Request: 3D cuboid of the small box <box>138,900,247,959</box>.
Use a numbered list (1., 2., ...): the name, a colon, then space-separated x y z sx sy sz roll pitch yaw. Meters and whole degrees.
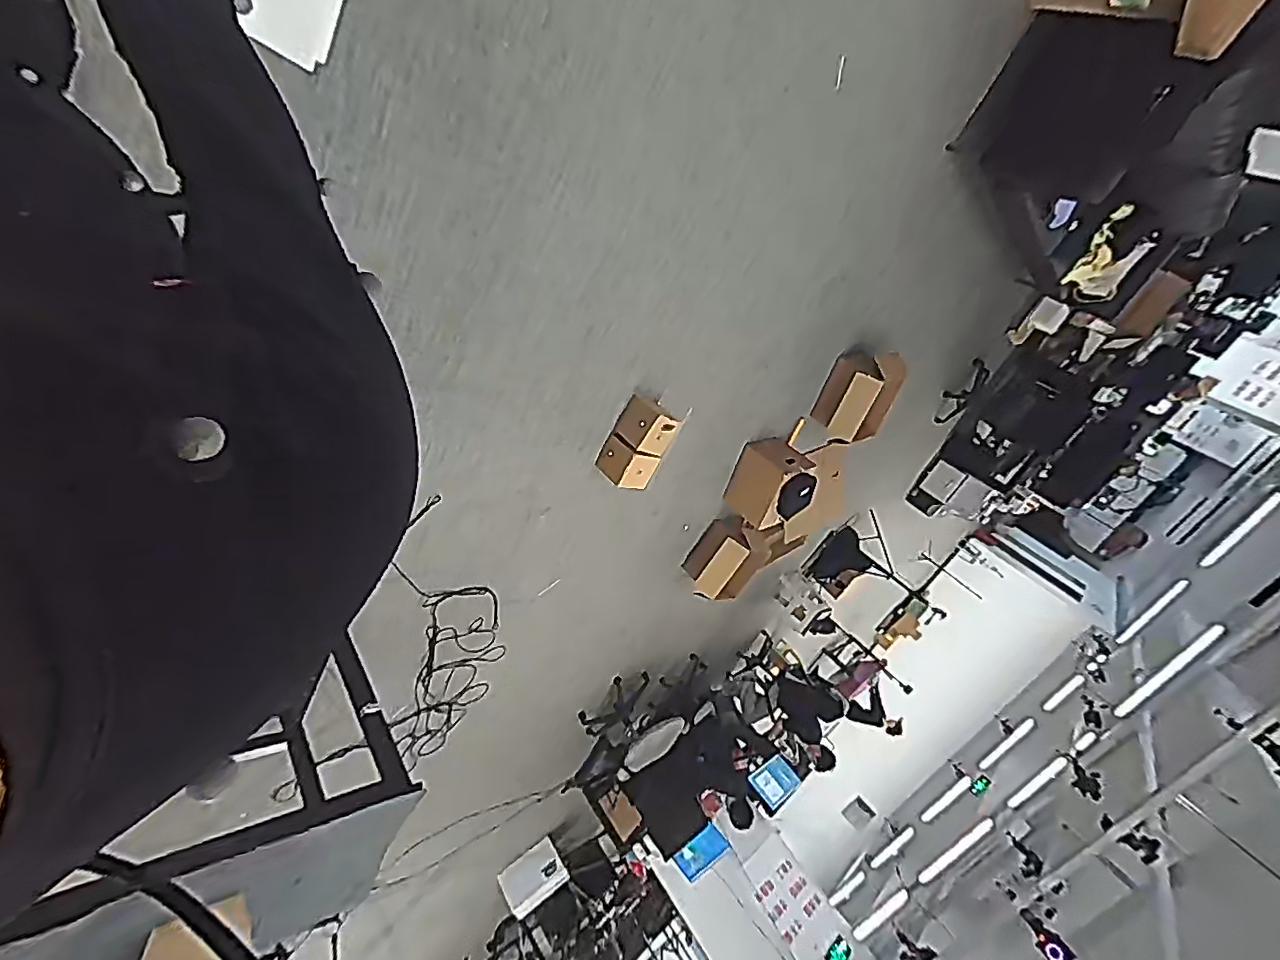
1. small box: -1.002 1.099 1.207 0.168 0.176 0.179 7 120 -51
